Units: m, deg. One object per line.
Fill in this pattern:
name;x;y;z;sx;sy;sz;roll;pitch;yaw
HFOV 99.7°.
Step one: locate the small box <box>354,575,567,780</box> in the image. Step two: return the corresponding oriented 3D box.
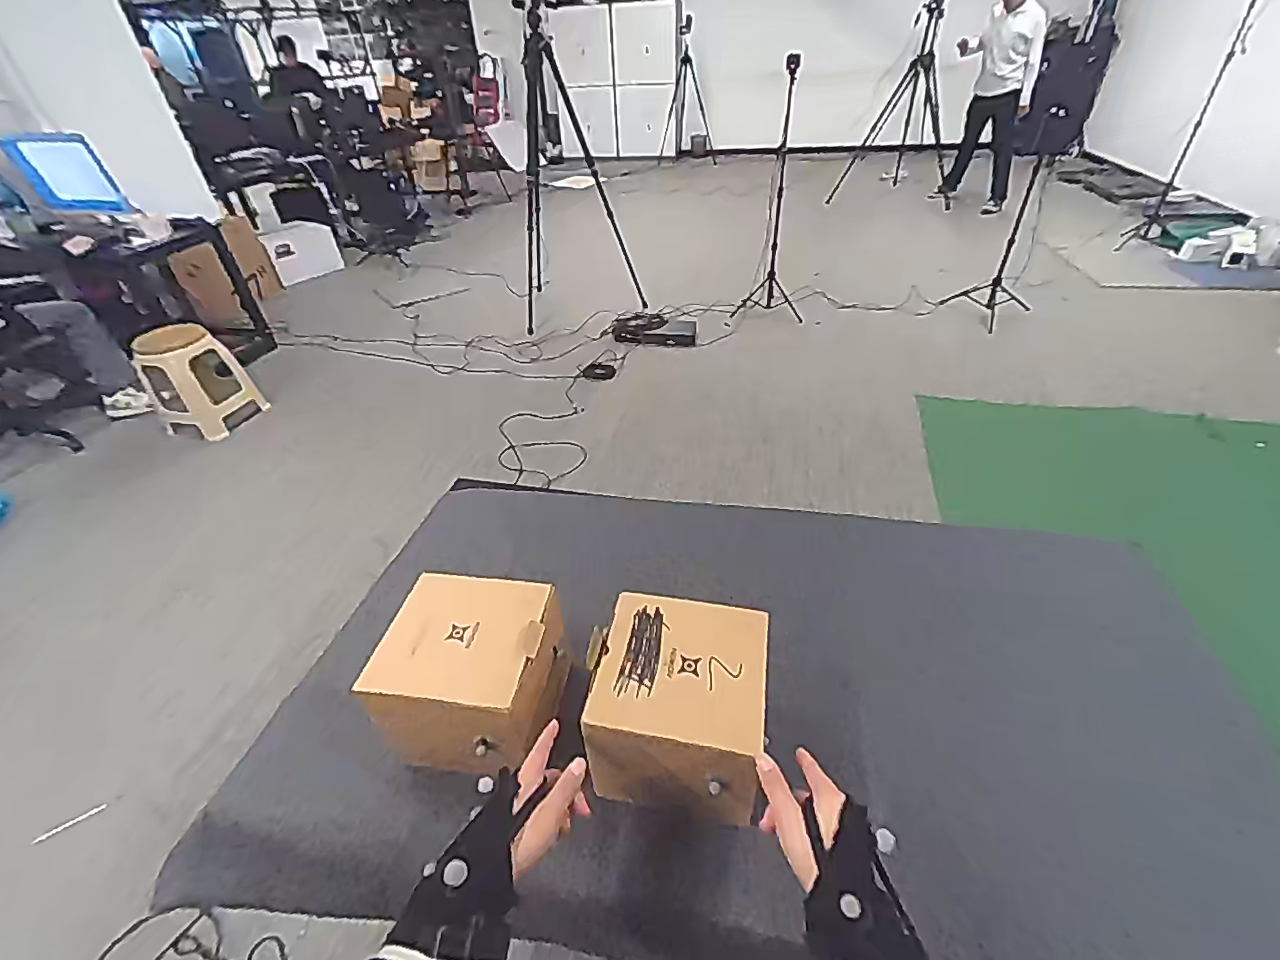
small box;-0.195;0.238;0.653;0.179;0.176;0.168;2;38;8
